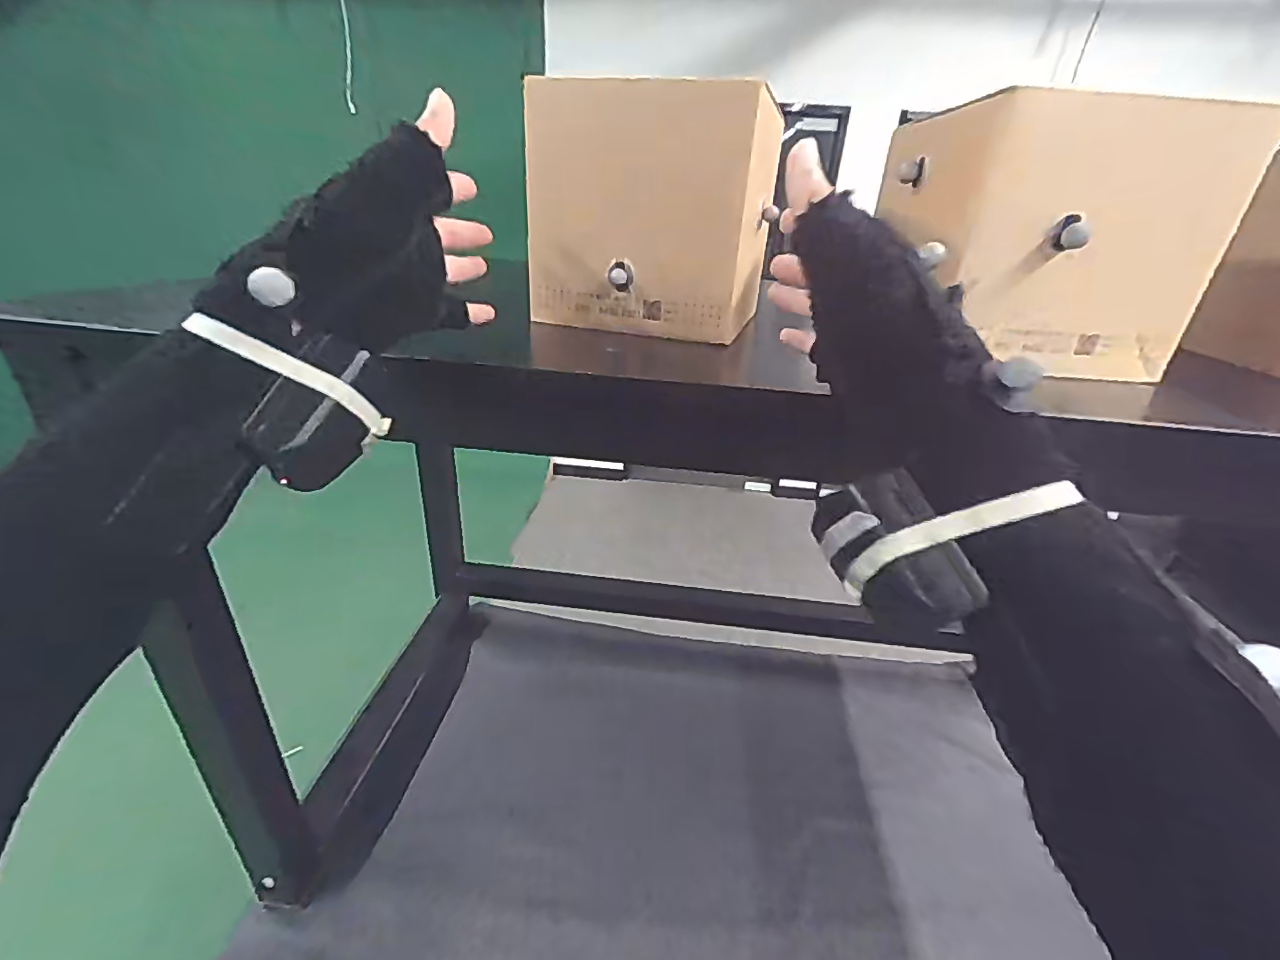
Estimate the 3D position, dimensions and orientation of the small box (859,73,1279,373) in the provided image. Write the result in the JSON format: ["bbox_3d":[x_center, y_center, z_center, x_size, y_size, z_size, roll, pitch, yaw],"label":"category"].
[{"bbox_3d":[0.290,-0.186,0.413,0.168,0.176,0.179,4,26,-1],"label":"small box"}]
